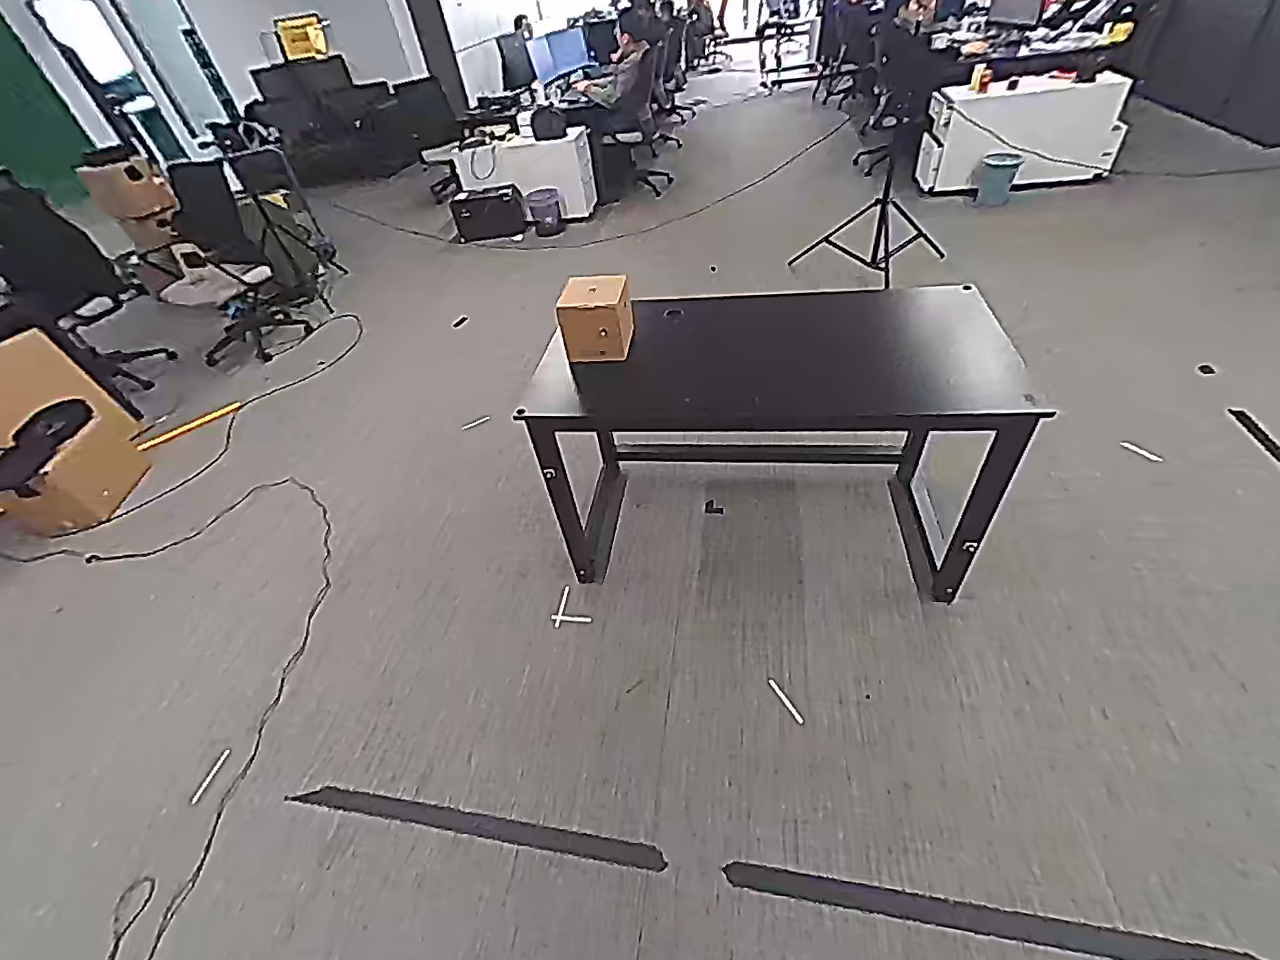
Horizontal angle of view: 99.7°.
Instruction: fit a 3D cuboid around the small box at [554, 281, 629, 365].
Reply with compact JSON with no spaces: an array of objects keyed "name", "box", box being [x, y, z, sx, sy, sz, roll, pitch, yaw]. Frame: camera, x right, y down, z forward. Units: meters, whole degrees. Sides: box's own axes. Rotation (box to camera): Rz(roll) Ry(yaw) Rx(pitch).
[{"name":"small box","box":[-0.126,-0.432,1.504,0.168,0.176,0.179,1,43,9]}]
